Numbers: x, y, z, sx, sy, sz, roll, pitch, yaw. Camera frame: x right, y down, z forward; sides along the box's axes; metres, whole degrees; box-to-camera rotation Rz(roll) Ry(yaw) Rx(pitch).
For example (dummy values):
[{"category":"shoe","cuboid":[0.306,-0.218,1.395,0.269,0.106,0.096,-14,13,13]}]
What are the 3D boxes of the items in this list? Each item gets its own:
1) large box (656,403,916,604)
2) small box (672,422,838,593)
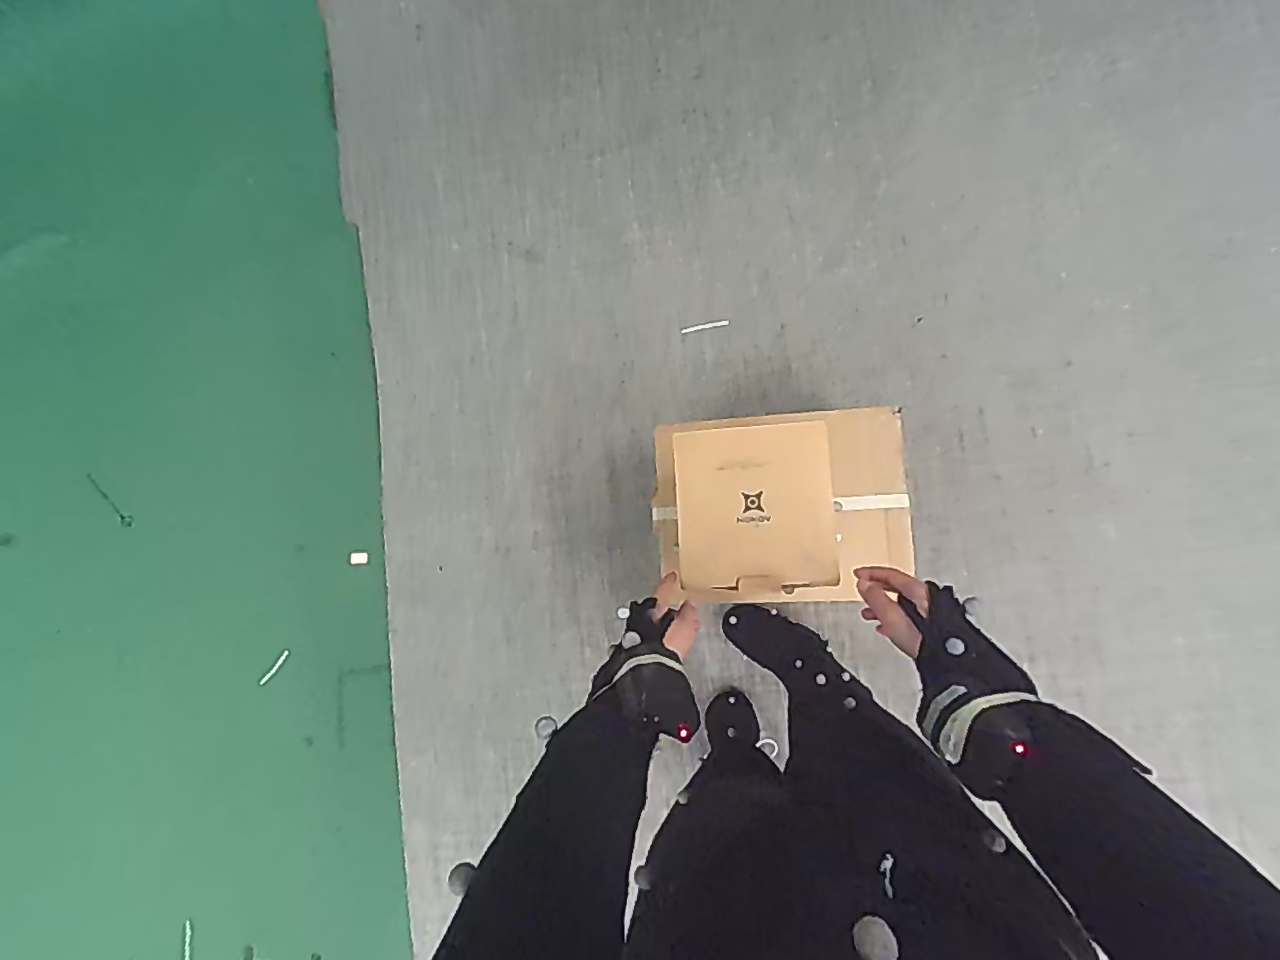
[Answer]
[{"category":"large box","cuboid":[0.256,0.055,1.041,0.408,0.320,0.320,-4,85,10]},{"category":"small box","cuboid":[0.133,0.036,0.650,0.168,0.176,0.179,-4,83,9]}]
